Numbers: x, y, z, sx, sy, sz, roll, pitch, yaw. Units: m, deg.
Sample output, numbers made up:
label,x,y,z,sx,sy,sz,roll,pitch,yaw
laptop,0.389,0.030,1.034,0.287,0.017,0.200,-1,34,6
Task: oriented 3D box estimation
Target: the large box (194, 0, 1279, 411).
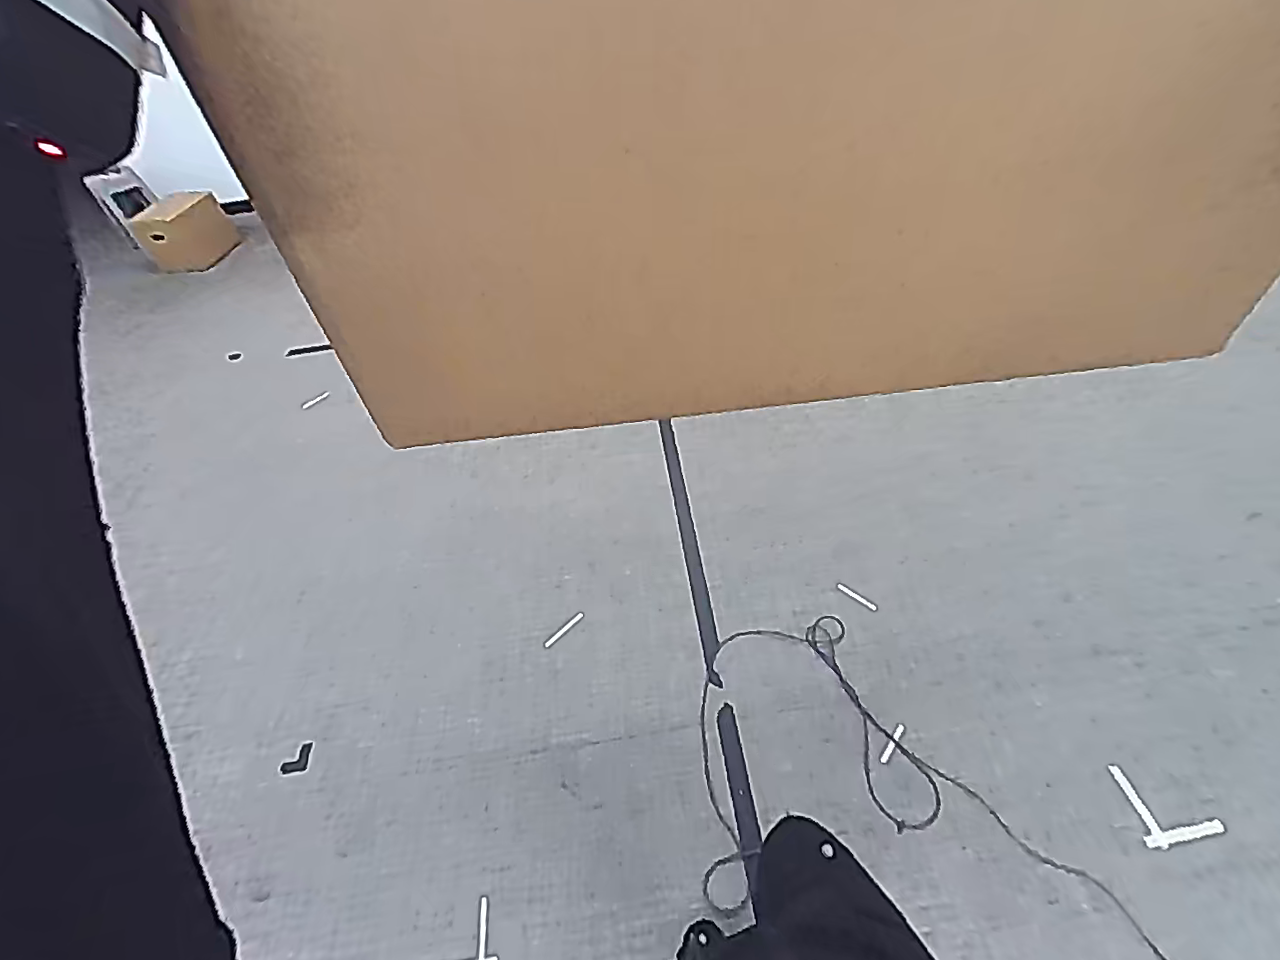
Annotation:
label,x,y,z,sx,sy,sz,roll,pitch,yaw
large box,0.052,-0.262,0.262,0.408,0.320,0.320,-6,46,-1
